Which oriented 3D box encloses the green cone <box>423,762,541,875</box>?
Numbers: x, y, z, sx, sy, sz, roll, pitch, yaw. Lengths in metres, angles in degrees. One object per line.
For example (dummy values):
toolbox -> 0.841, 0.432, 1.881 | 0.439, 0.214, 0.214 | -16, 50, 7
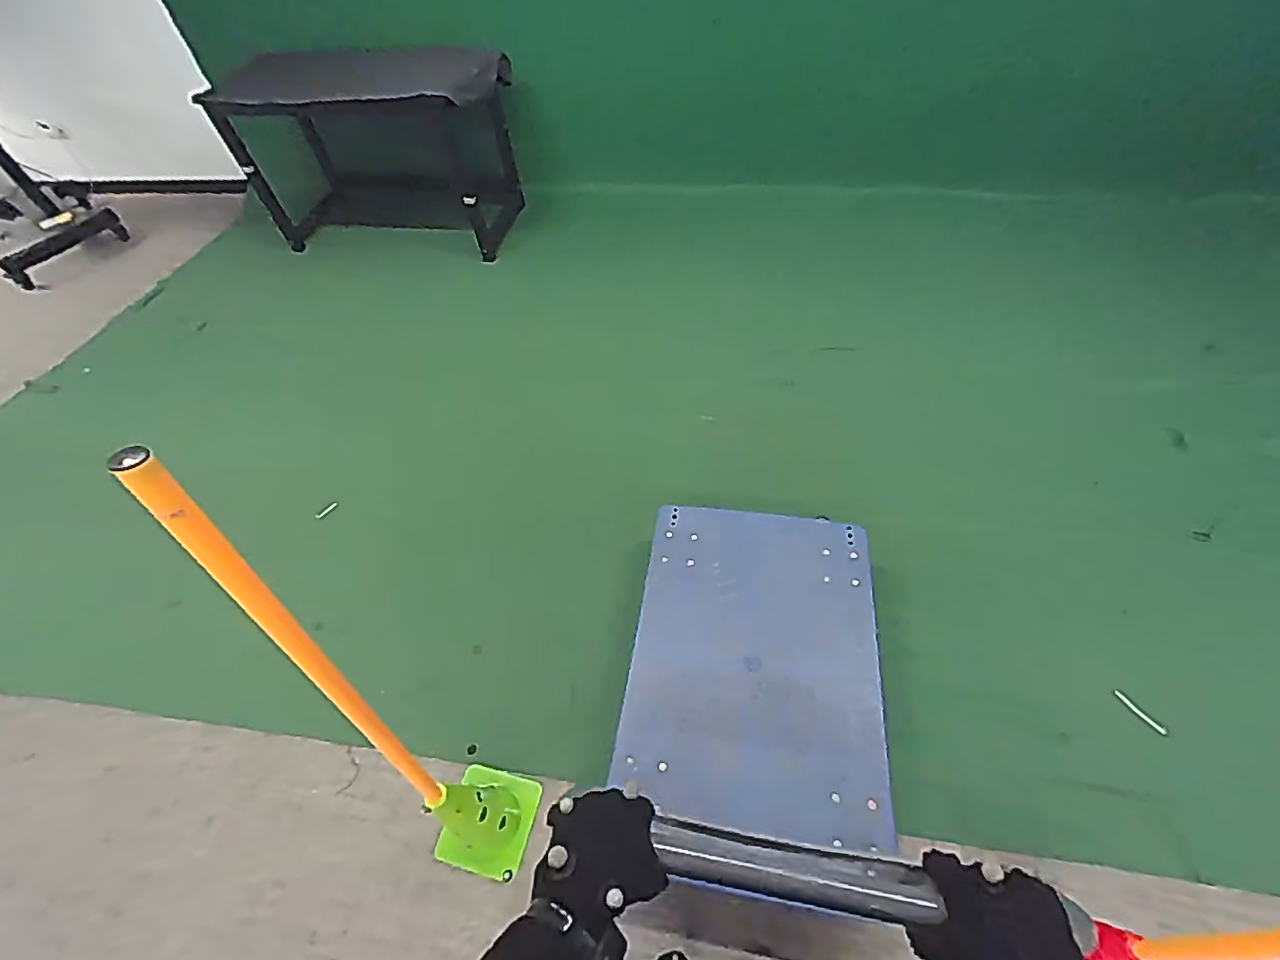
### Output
green cone -> -0.364, 0.681, 1.138 | 0.202, 0.368, 0.200 | 8, 52, 12
